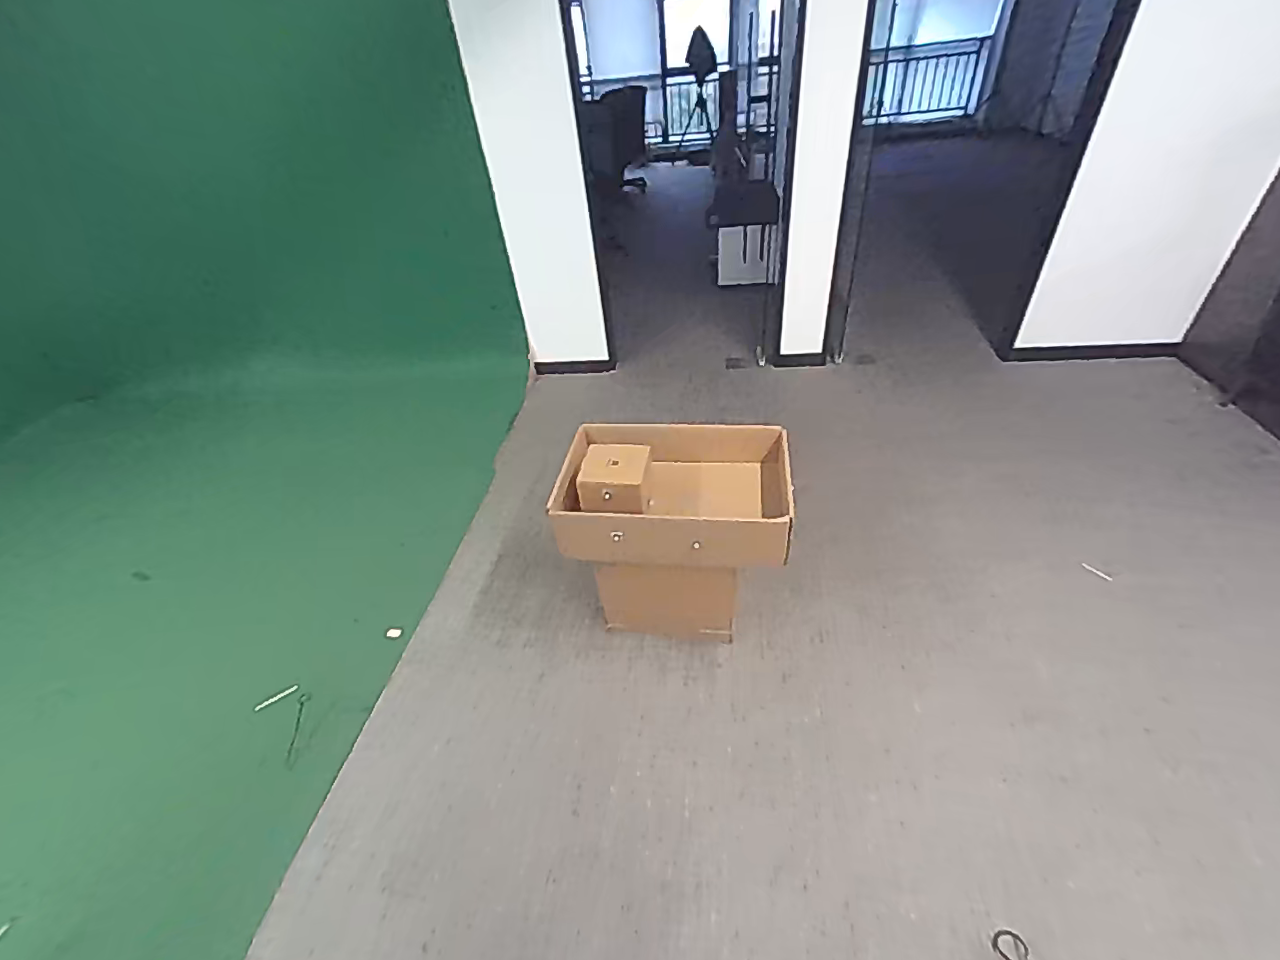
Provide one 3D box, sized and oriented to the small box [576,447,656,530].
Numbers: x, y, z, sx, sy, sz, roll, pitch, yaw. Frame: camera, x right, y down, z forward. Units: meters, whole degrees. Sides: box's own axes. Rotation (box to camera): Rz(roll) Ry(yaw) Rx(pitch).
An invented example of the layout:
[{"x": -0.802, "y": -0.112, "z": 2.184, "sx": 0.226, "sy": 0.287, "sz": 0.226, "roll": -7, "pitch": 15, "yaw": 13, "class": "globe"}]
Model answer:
[{"x": -0.061, "y": 0.024, "z": 1.499, "sx": 0.179, "sy": 0.176, "sz": 0.168, "roll": 1, "pitch": 40, "yaw": 12, "class": "small box"}]
